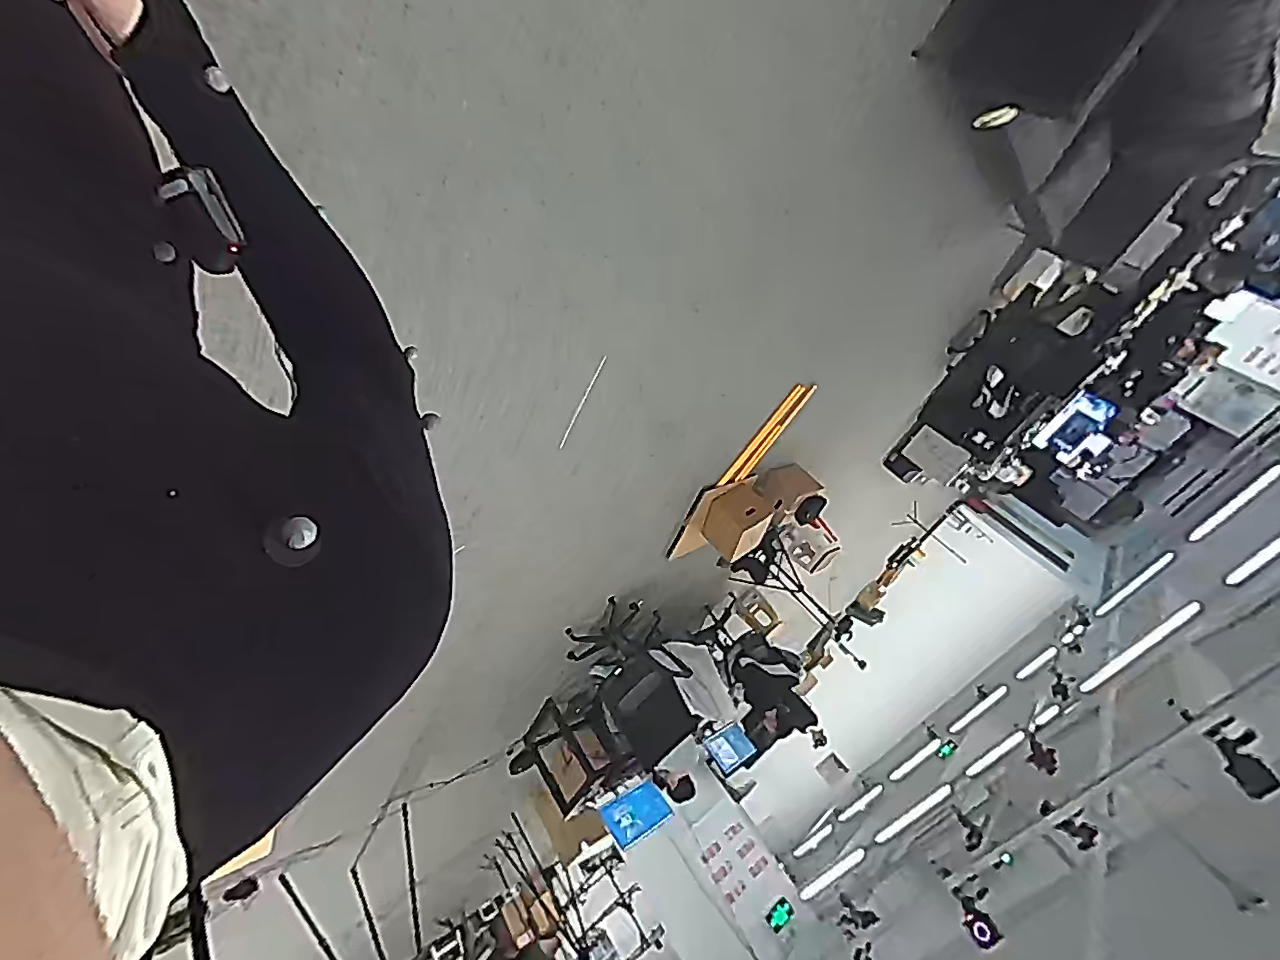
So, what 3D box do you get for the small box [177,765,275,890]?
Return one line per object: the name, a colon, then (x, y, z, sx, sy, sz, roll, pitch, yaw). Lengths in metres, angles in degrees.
small box: (-1.014, 0.841, 1.322, 0.168, 0.176, 0.179, -6, 133, -45)
